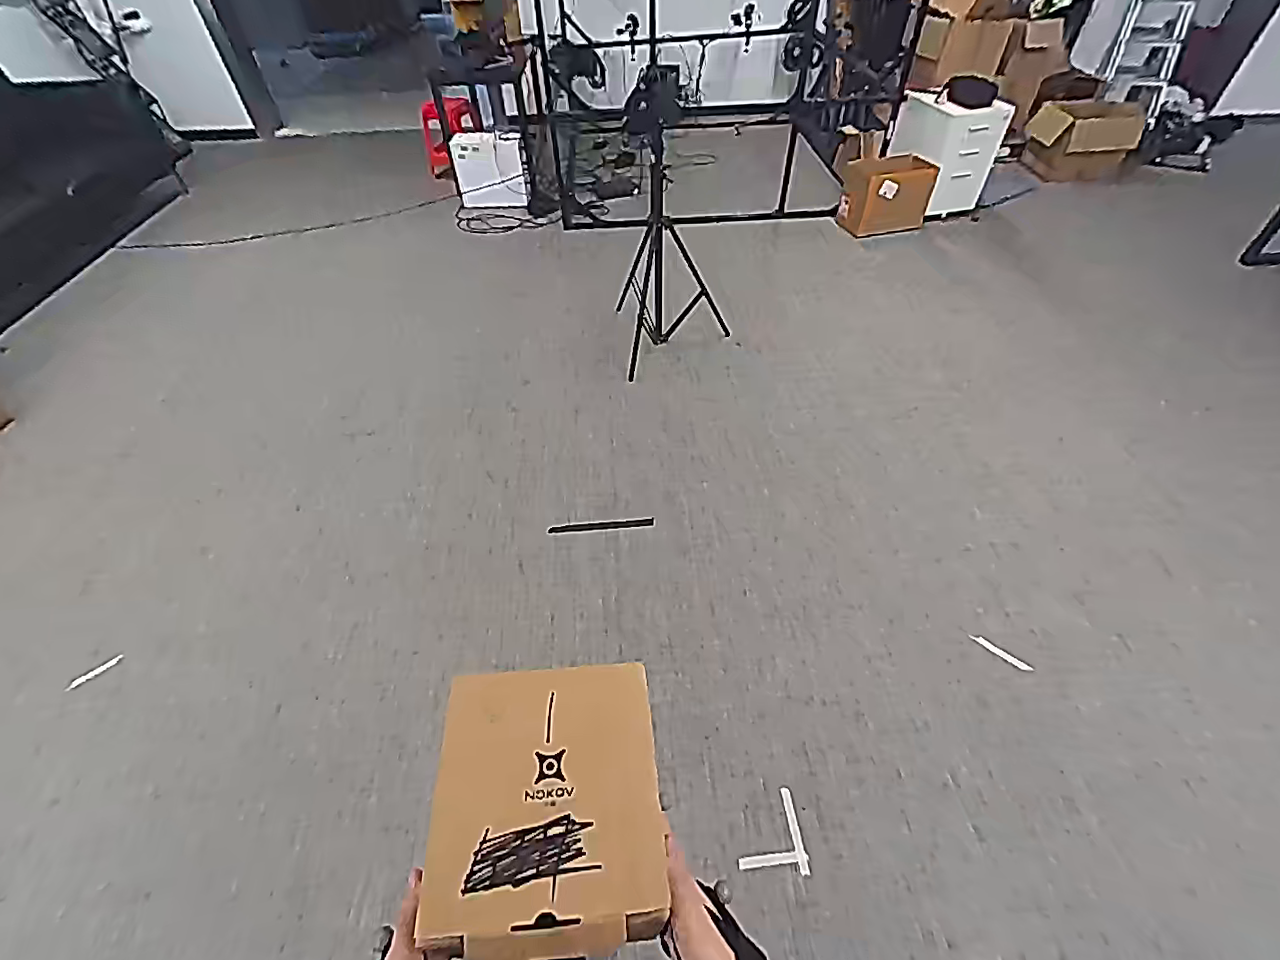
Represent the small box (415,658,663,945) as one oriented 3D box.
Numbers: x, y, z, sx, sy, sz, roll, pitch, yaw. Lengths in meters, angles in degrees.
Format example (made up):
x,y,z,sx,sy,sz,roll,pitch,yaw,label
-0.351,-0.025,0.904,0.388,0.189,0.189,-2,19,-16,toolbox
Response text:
x,y,z,sx,sy,sz,roll,pitch,yaw,label
-0.072,0.277,0.464,0.168,0.176,0.179,-3,45,-5,small box
